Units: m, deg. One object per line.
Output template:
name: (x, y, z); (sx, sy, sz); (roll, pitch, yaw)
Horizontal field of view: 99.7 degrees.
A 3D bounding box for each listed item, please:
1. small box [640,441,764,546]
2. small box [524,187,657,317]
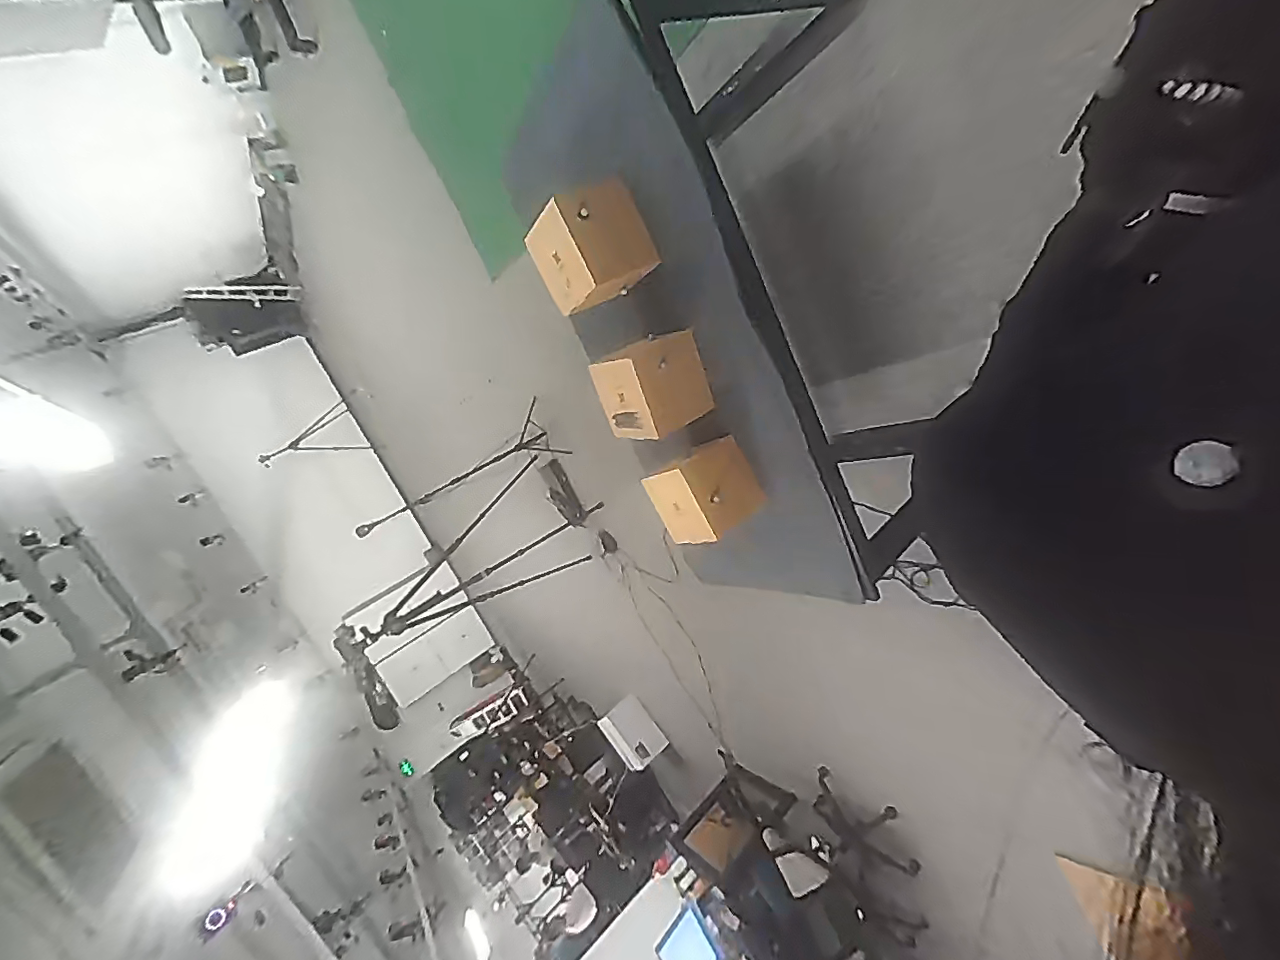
small box: (0.138, 0.027, 1.201); (0.168, 0.176, 0.179); (-17, 103, 60)
small box: (-0.098, -0.458, 1.082); (0.168, 0.176, 0.179); (-11, 109, 59)
